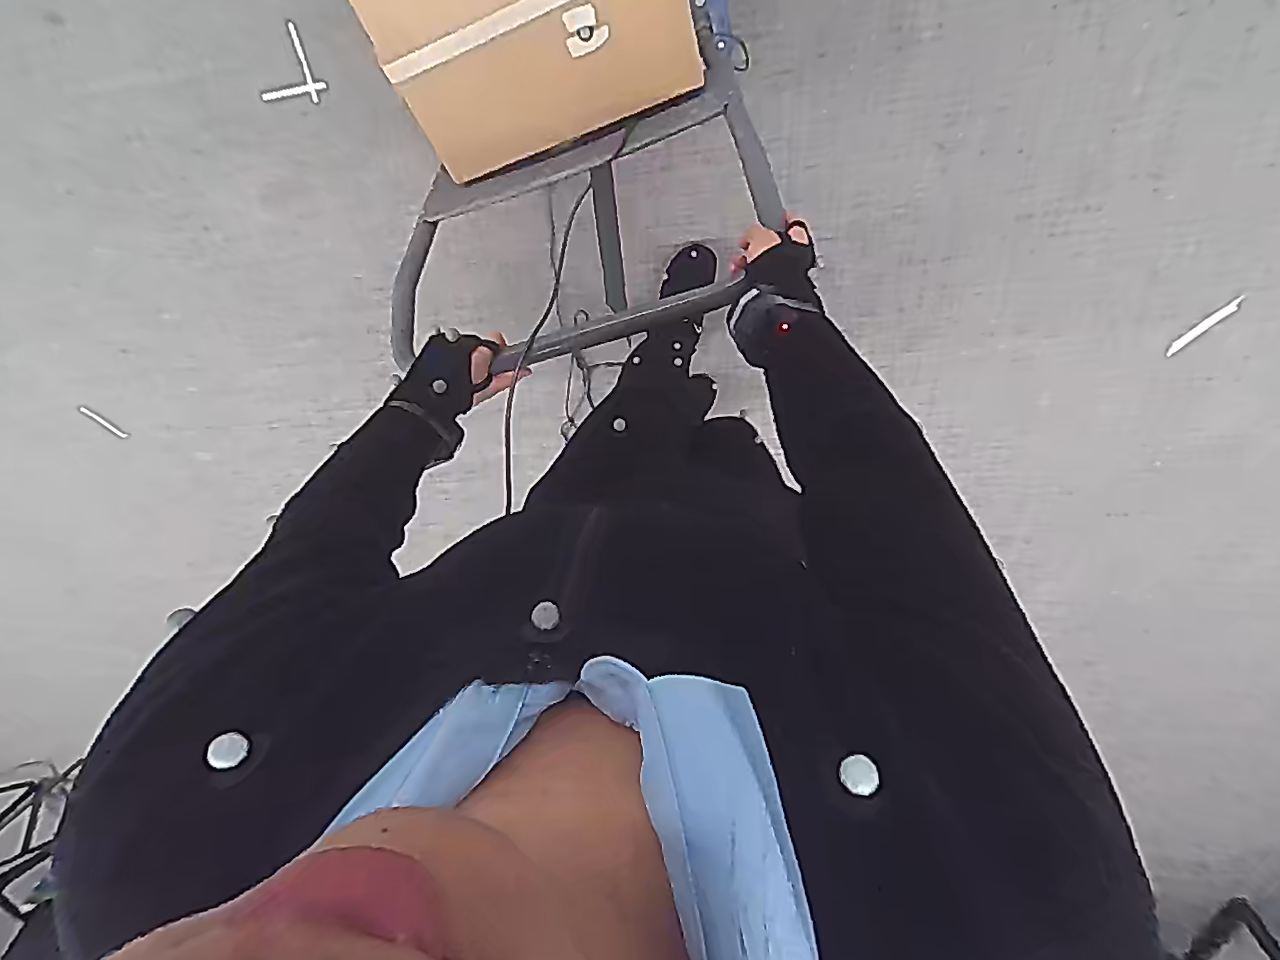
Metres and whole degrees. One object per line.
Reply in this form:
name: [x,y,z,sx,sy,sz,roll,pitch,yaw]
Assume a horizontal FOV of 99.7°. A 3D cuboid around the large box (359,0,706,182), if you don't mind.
large box: [-0.149,-0.718,0.793,0.408,0.320,0.320,-14,139,13]
